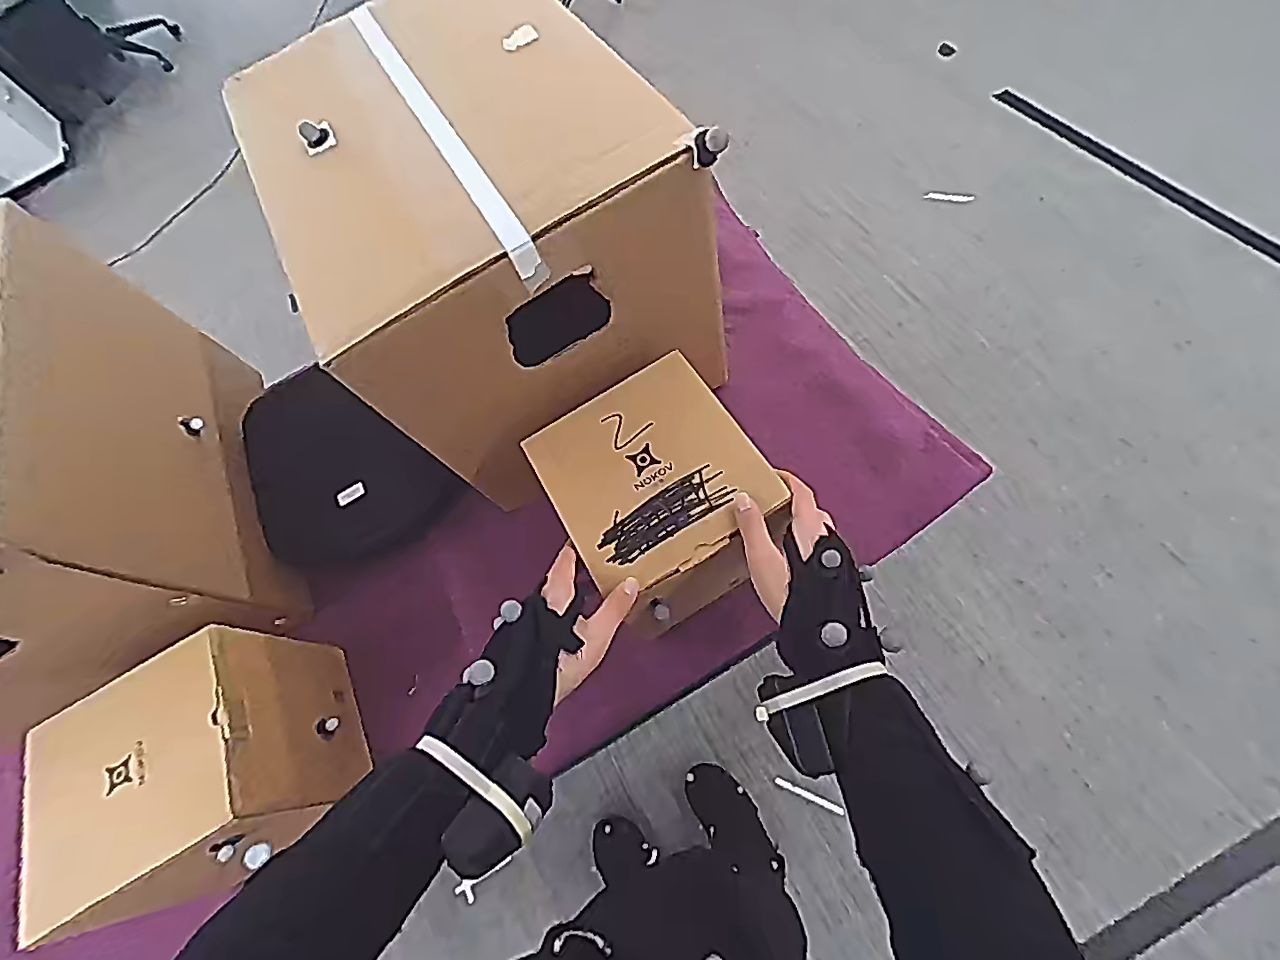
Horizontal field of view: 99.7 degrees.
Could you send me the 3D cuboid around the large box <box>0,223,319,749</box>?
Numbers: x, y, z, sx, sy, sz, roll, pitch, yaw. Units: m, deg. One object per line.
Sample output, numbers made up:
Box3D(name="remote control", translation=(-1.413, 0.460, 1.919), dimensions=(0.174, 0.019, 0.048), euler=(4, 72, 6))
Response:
Box3D(name="large box", translation=(-0.629, 0.025, 0.585), dimensions=(0.320, 0.320, 0.408), euler=(-30, 67, -2))
